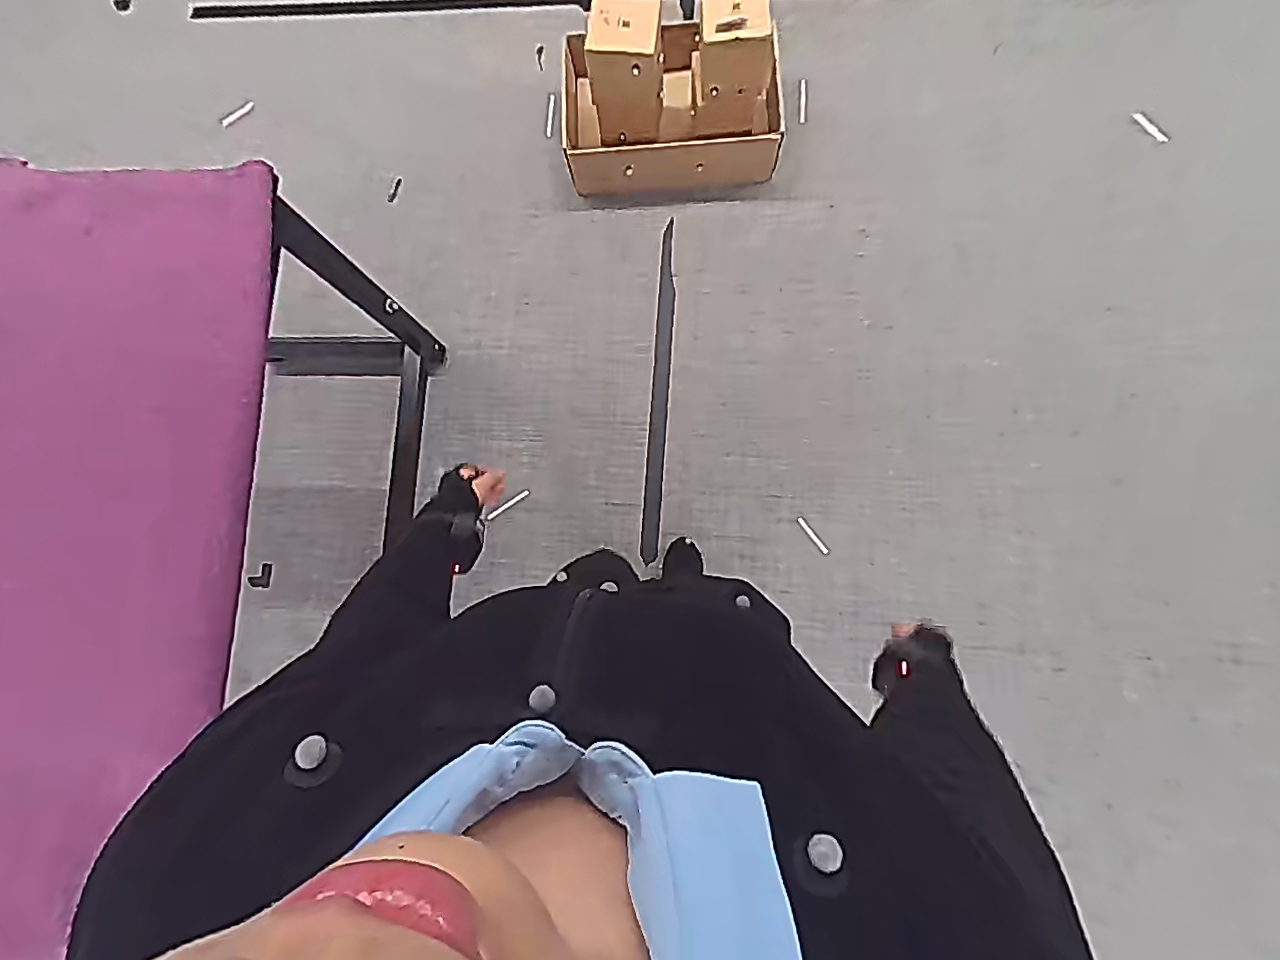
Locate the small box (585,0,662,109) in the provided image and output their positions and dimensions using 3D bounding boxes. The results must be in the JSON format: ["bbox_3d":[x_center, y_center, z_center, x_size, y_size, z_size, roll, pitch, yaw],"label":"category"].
[{"bbox_3d":[-0.037,-1.114,1.417,0.179,0.176,0.168,6,81,4],"label":"small box"}]

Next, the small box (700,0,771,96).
[{"bbox_3d":[0.242,-1.132,1.398,0.168,0.176,0.179,-2,79,4],"label":"small box"}]

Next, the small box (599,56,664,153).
[{"bbox_3d":[-0.024,-1.104,1.583,0.168,0.176,0.179,9,81,4],"label":"small box"}]
